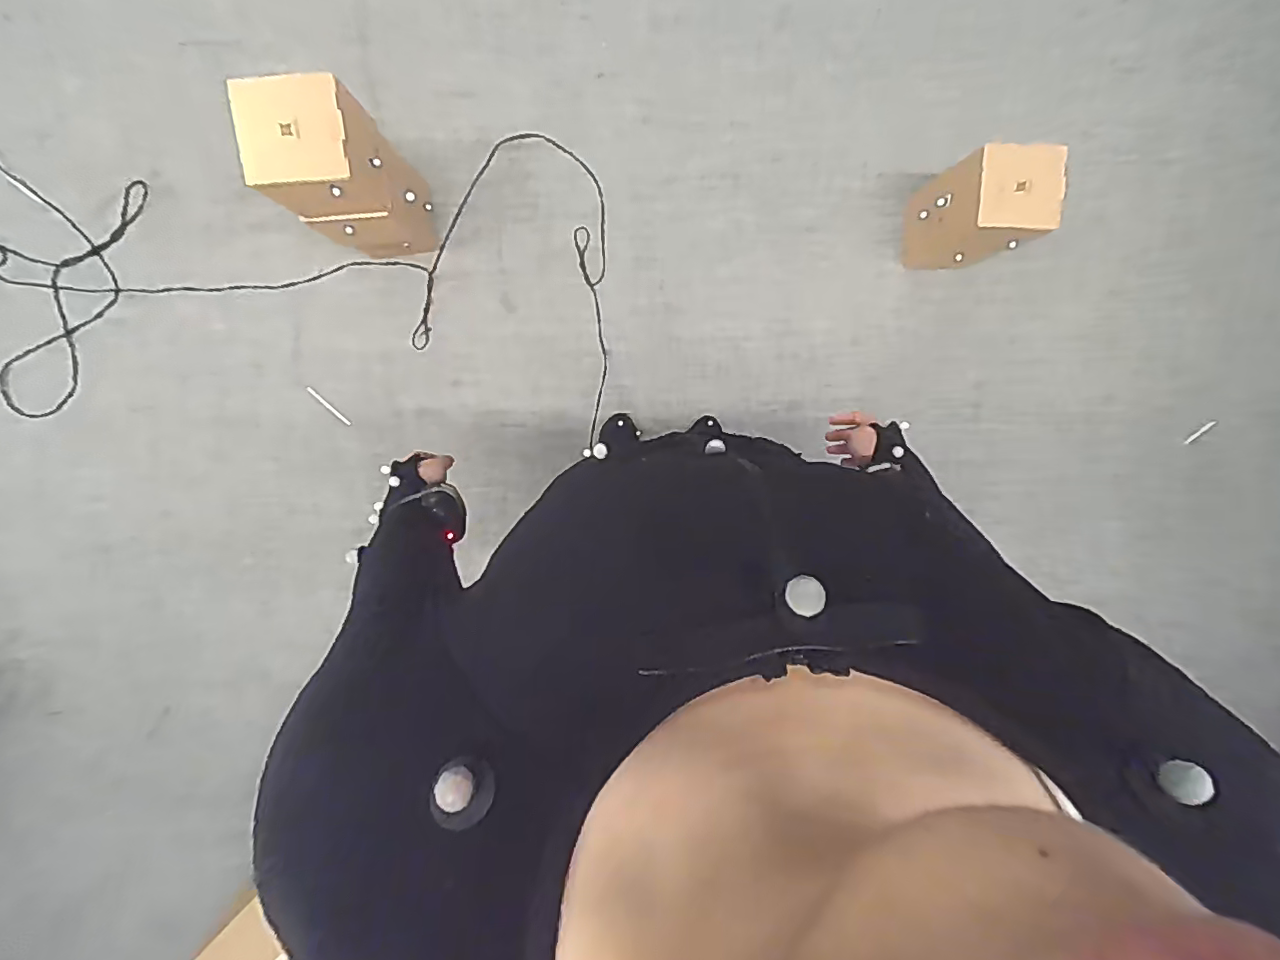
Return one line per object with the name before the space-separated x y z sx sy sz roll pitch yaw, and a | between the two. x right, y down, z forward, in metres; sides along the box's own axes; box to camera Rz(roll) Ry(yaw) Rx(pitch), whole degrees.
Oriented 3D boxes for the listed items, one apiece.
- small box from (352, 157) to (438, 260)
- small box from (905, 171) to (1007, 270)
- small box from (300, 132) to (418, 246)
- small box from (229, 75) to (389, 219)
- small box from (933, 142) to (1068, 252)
small box | -0.602 -0.644 1.298 0.179 0.176 0.168 -8 97 0
small box | 0.780 -0.635 1.338 0.168 0.176 0.179 0 97 -1
small box | -0.592 -0.604 1.139 0.179 0.176 0.168 -5 98 -2
small box | -0.584 -0.588 0.977 0.179 0.176 0.168 -6 98 -2
small box | 0.775 -0.607 1.177 0.179 0.176 0.168 0 97 -1
